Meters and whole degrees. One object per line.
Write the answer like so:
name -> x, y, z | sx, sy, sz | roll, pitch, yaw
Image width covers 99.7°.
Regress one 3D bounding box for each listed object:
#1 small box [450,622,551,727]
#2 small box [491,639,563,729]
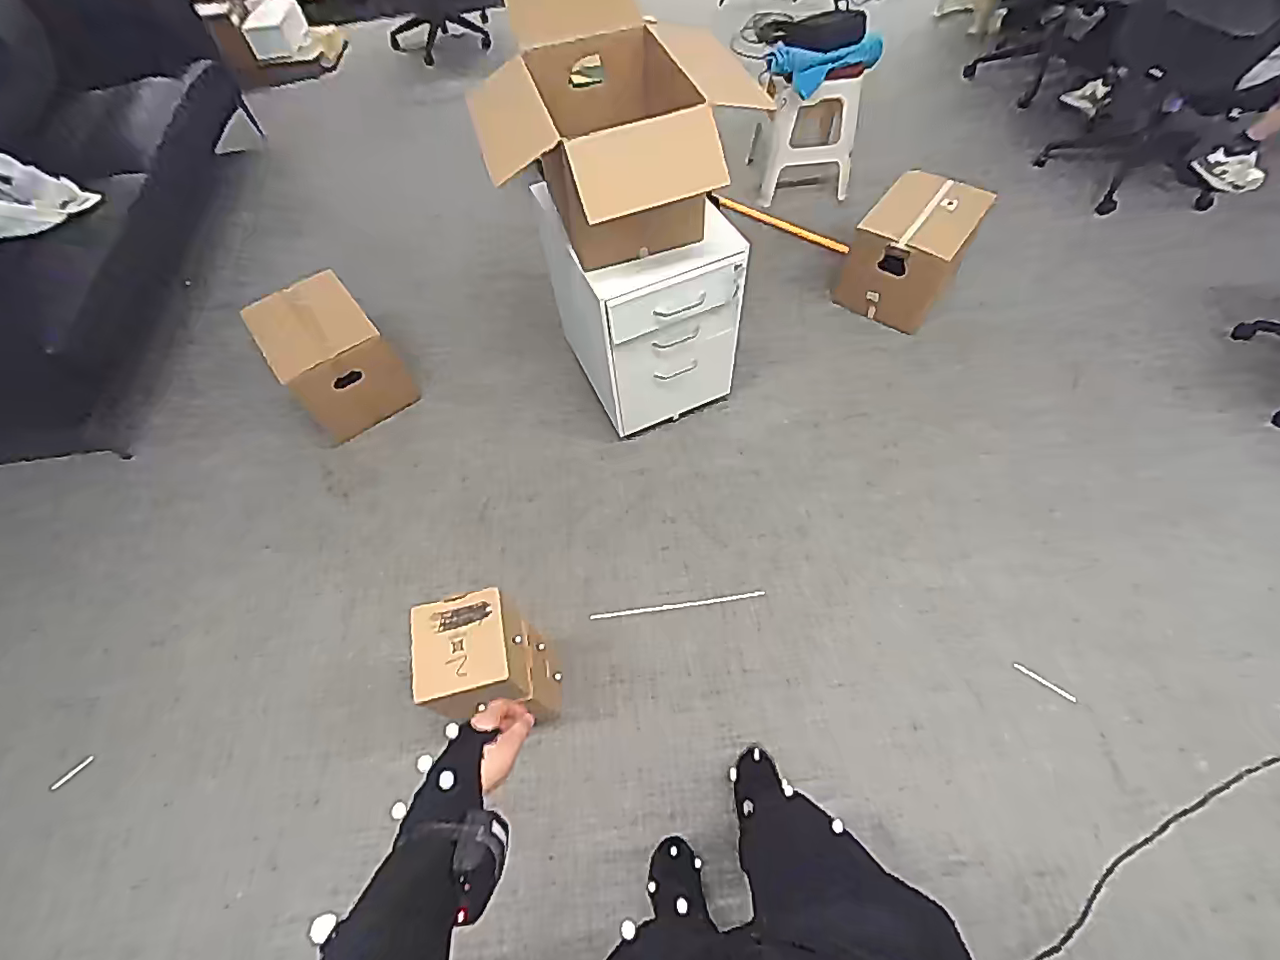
small box -> -0.298, 0.428, 1.180 | 0.179, 0.176, 0.168 | -13, 58, -1
small box -> -0.289, 0.502, 1.325 | 0.179, 0.176, 0.168 | -9, 59, -1
